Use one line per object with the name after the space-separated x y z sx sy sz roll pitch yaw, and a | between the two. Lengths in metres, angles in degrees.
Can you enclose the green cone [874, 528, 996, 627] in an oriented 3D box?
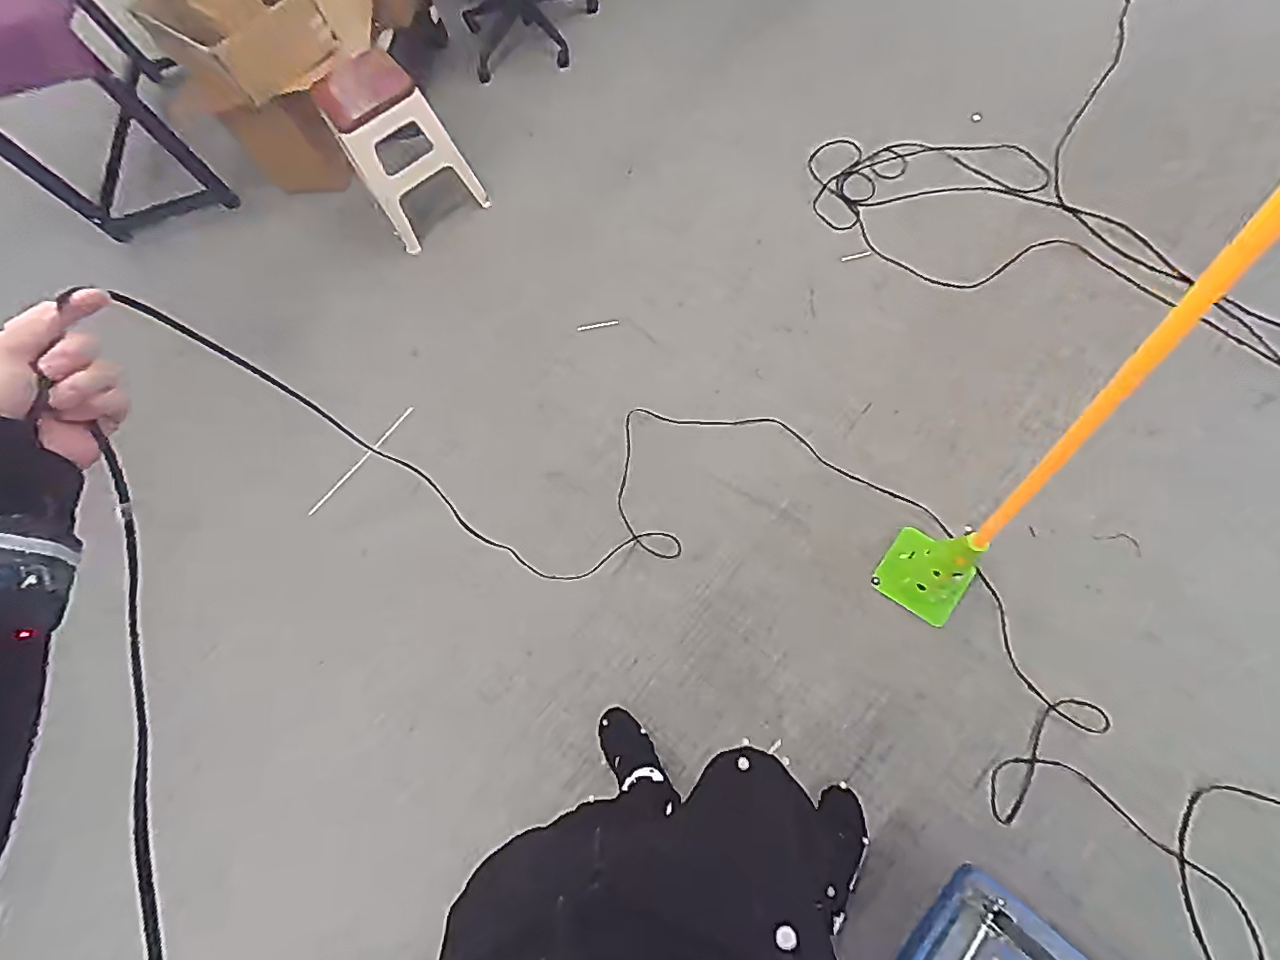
0.710 0.185 1.232 0.200 0.368 0.202 33 77 19 | green cone
